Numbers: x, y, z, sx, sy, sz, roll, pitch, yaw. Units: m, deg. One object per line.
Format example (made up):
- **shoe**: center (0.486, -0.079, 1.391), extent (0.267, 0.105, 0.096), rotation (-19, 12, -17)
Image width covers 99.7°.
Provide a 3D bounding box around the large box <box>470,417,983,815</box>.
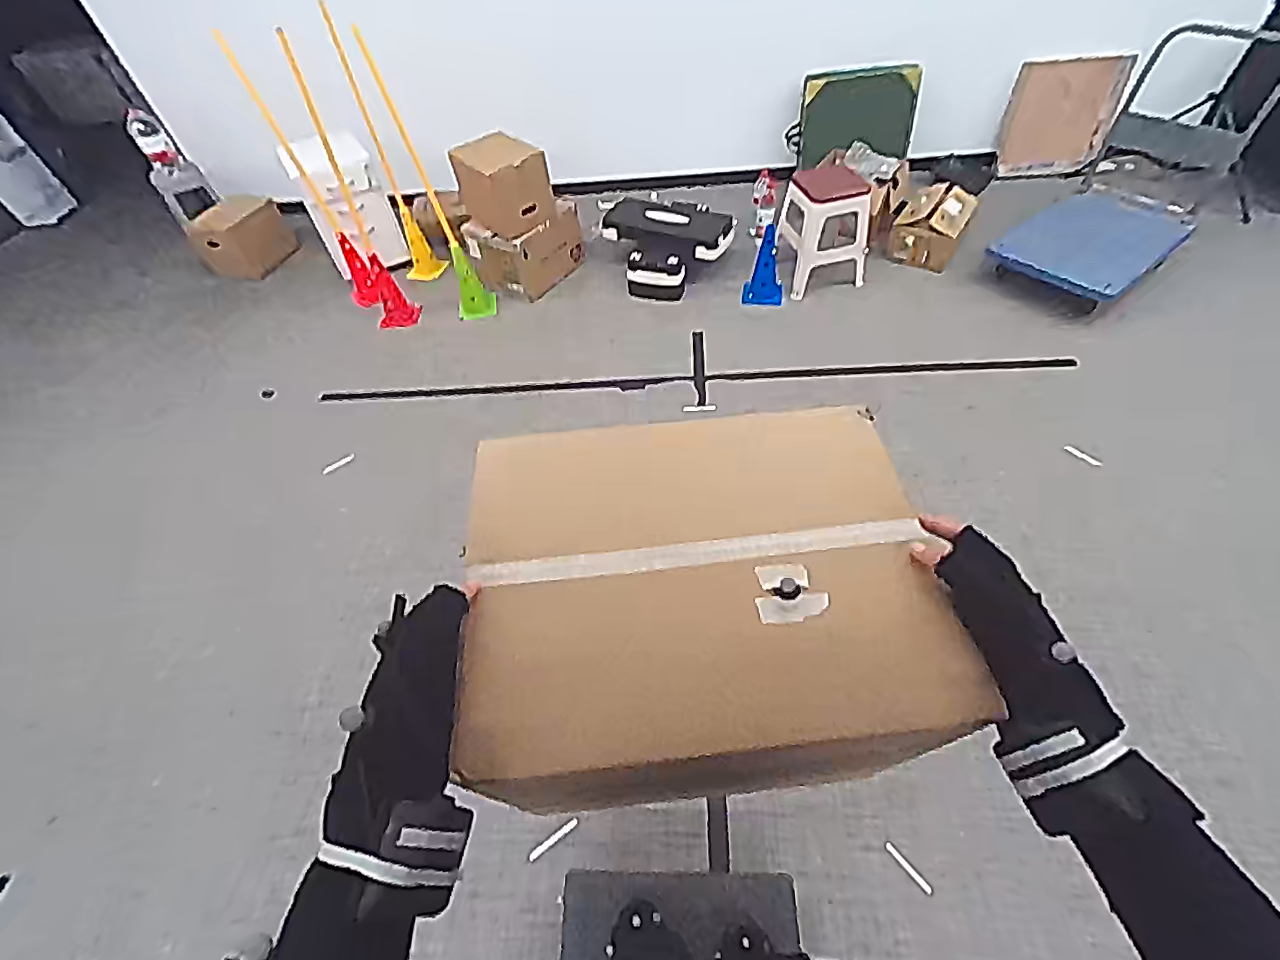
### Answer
- **large box**: center (0.055, 0.161, 0.611), extent (0.408, 0.320, 0.320), rotation (-5, 54, -3)
